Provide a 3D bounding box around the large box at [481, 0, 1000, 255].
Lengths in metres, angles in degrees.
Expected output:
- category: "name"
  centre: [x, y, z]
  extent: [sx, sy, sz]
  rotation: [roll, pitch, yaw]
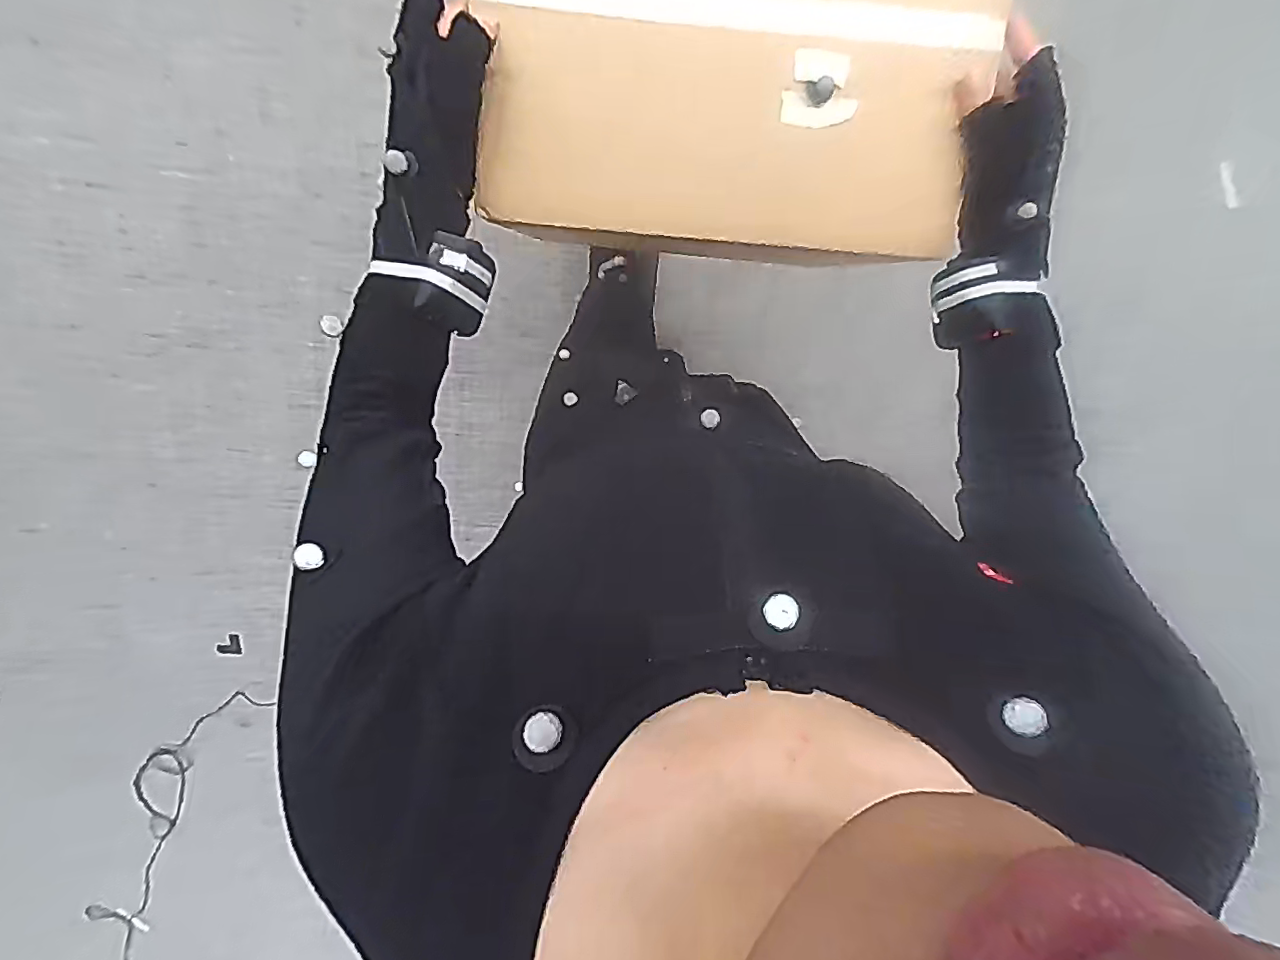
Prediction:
- category: "large box"
  centre: [0.071, -0.414, 0.551]
  extent: [0.408, 0.320, 0.320]
  rotation: [3, 111, -3]
